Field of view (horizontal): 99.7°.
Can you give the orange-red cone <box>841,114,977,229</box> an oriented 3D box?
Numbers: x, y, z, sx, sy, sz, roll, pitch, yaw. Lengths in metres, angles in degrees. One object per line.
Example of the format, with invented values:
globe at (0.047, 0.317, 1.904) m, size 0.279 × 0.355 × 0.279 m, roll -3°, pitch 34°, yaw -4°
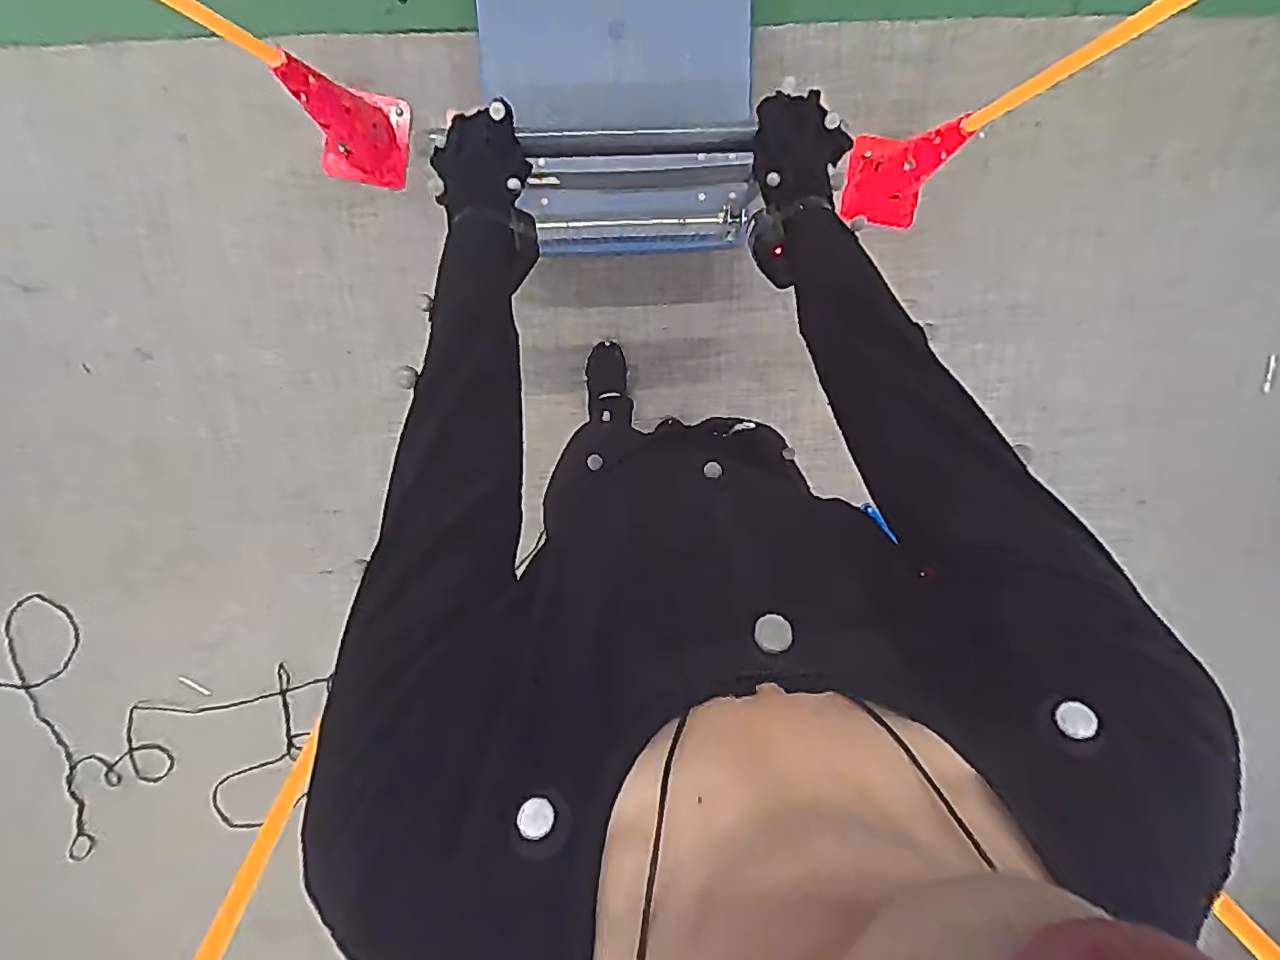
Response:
orange-red cone at (0.625, -0.716, 1.205) m, size 0.198 × 0.360 × 0.199 m, roll 9°, pitch 103°, yaw -3°
